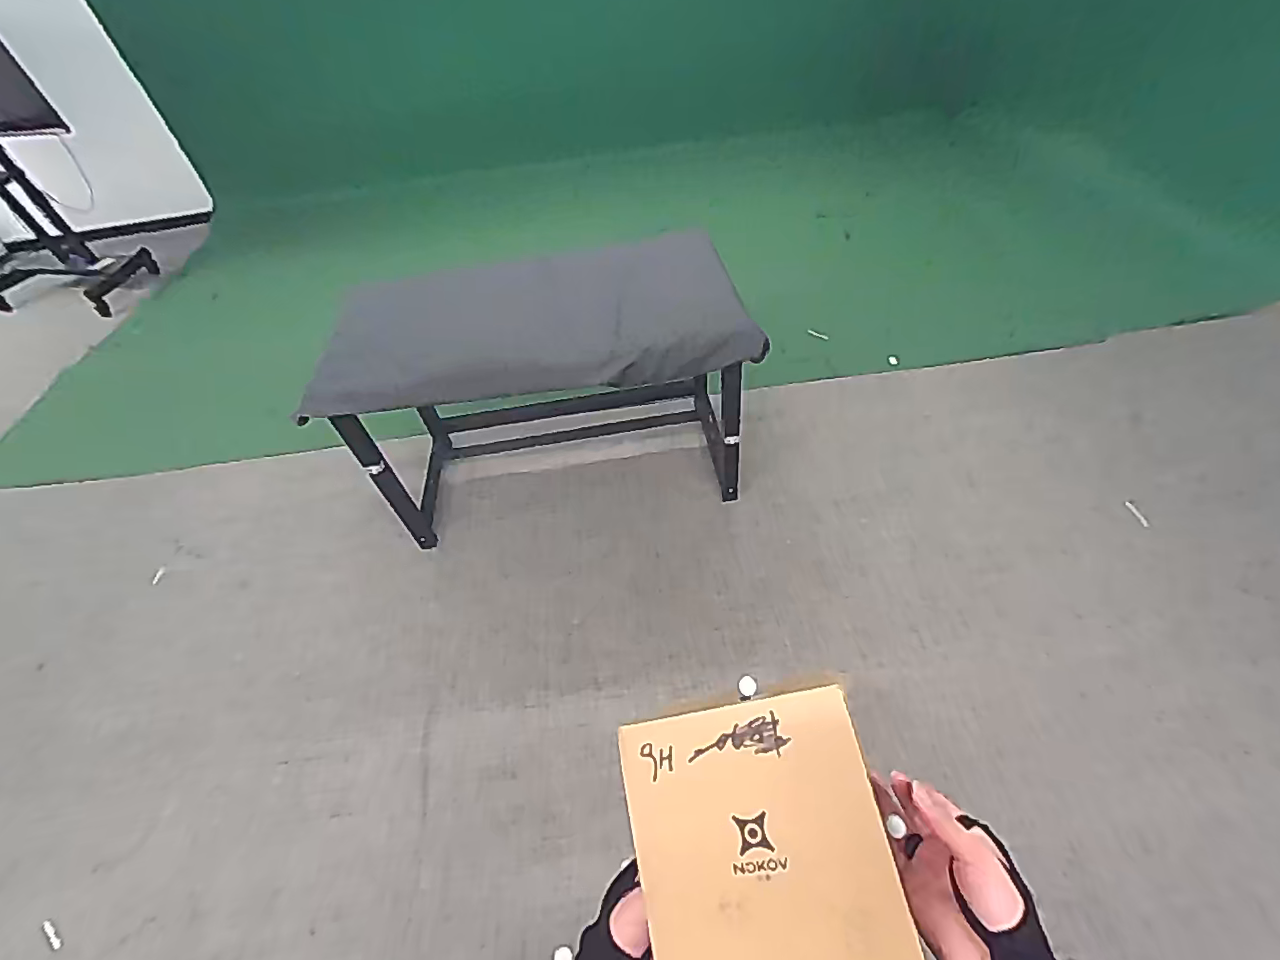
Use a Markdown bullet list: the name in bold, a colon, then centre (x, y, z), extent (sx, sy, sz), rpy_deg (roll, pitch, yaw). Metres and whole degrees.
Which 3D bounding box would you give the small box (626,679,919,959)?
- **small box**: centre (0.105, 0.270, 0.433), extent (0.168, 0.176, 0.179), rpy_deg (-17, 70, 13)
